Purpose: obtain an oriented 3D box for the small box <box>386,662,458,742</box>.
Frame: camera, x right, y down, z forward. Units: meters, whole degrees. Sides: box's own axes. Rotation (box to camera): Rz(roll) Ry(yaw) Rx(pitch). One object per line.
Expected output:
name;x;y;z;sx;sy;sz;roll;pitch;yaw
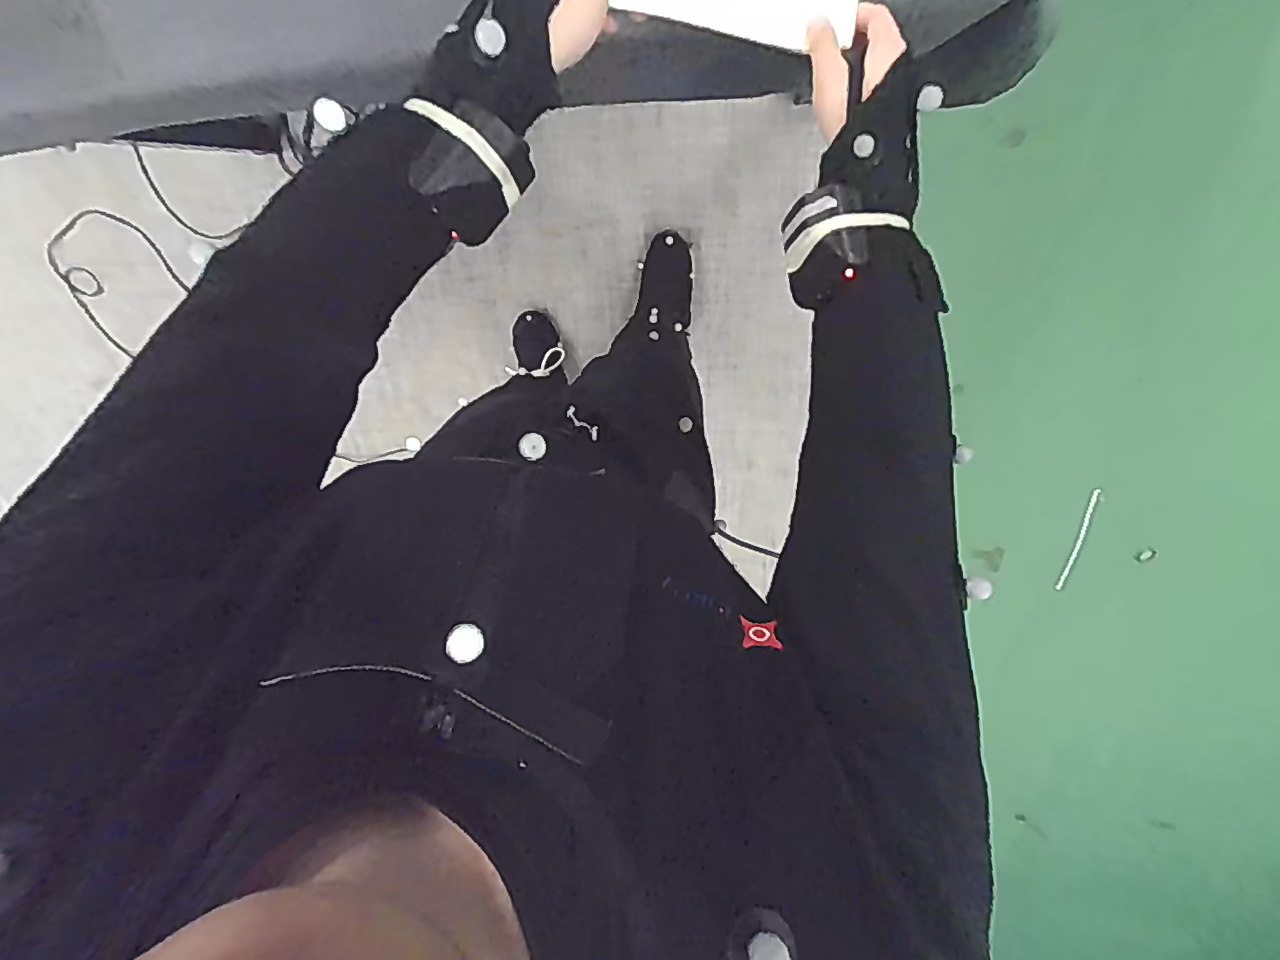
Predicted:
small box;-0.739;0.748;1.836;0.179;0.176;0.168;14;119;-2
